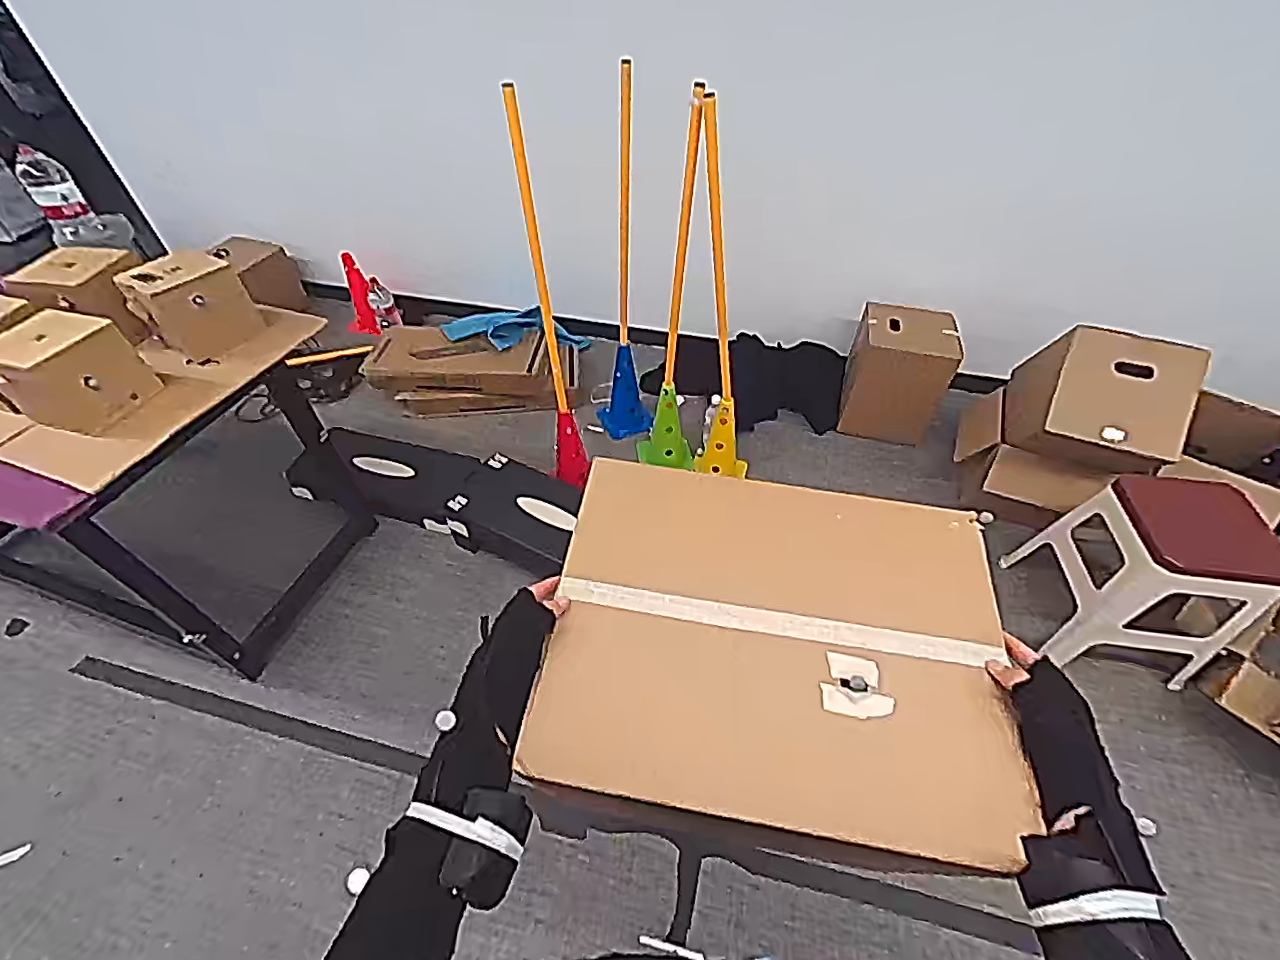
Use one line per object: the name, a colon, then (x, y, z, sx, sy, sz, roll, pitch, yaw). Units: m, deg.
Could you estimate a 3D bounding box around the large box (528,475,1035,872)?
large box: (0.121, 0.228, 0.624, 0.408, 0.320, 0.320, 9, 56, 4)
